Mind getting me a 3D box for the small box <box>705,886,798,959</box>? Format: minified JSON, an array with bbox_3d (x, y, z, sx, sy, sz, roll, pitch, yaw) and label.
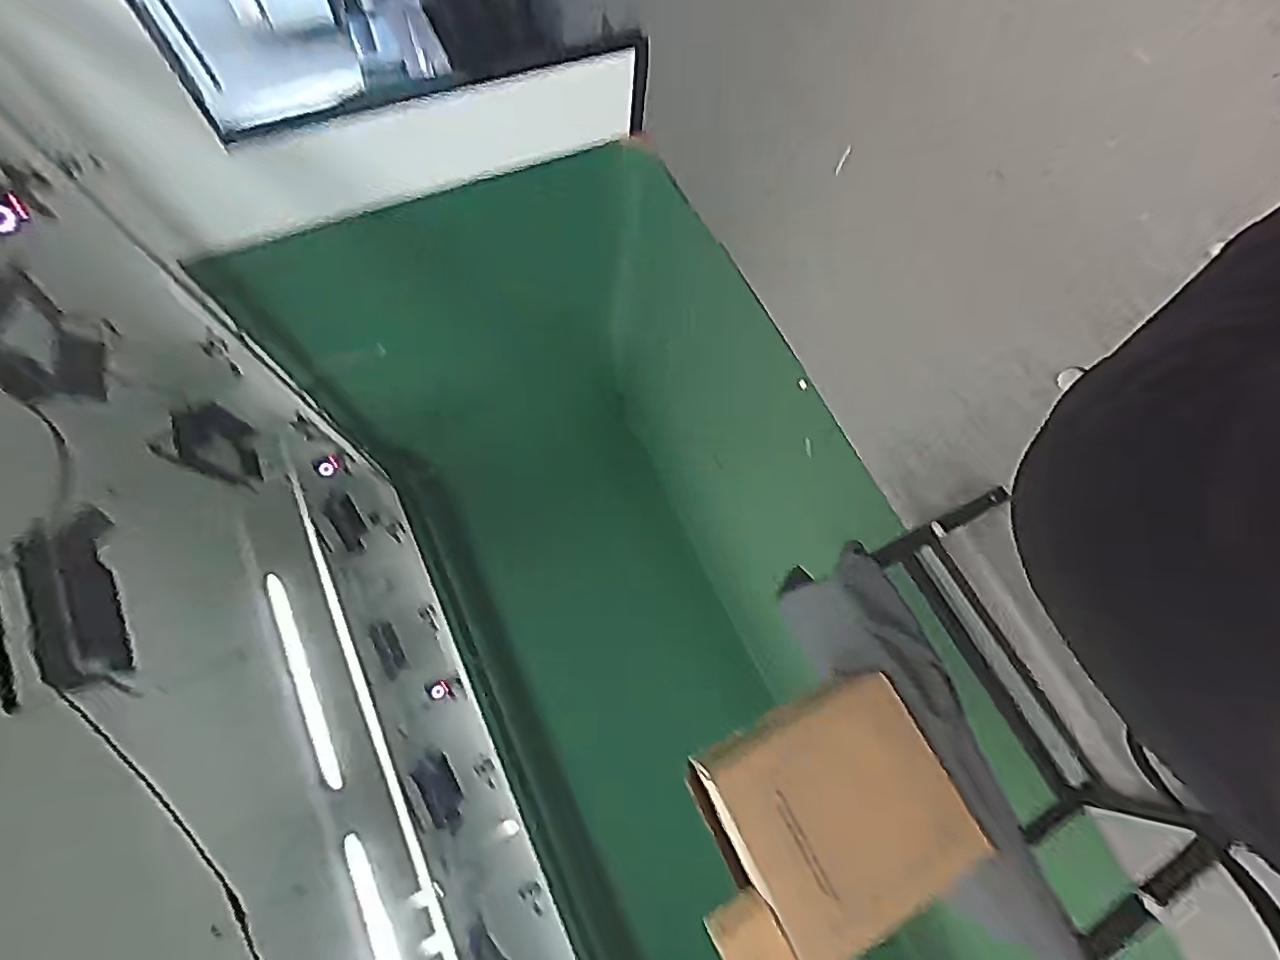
[{"bbox_3d":[0.305,1.261,1.465,0.179,0.176,0.168,60,164,17],"label":"small box"}]
